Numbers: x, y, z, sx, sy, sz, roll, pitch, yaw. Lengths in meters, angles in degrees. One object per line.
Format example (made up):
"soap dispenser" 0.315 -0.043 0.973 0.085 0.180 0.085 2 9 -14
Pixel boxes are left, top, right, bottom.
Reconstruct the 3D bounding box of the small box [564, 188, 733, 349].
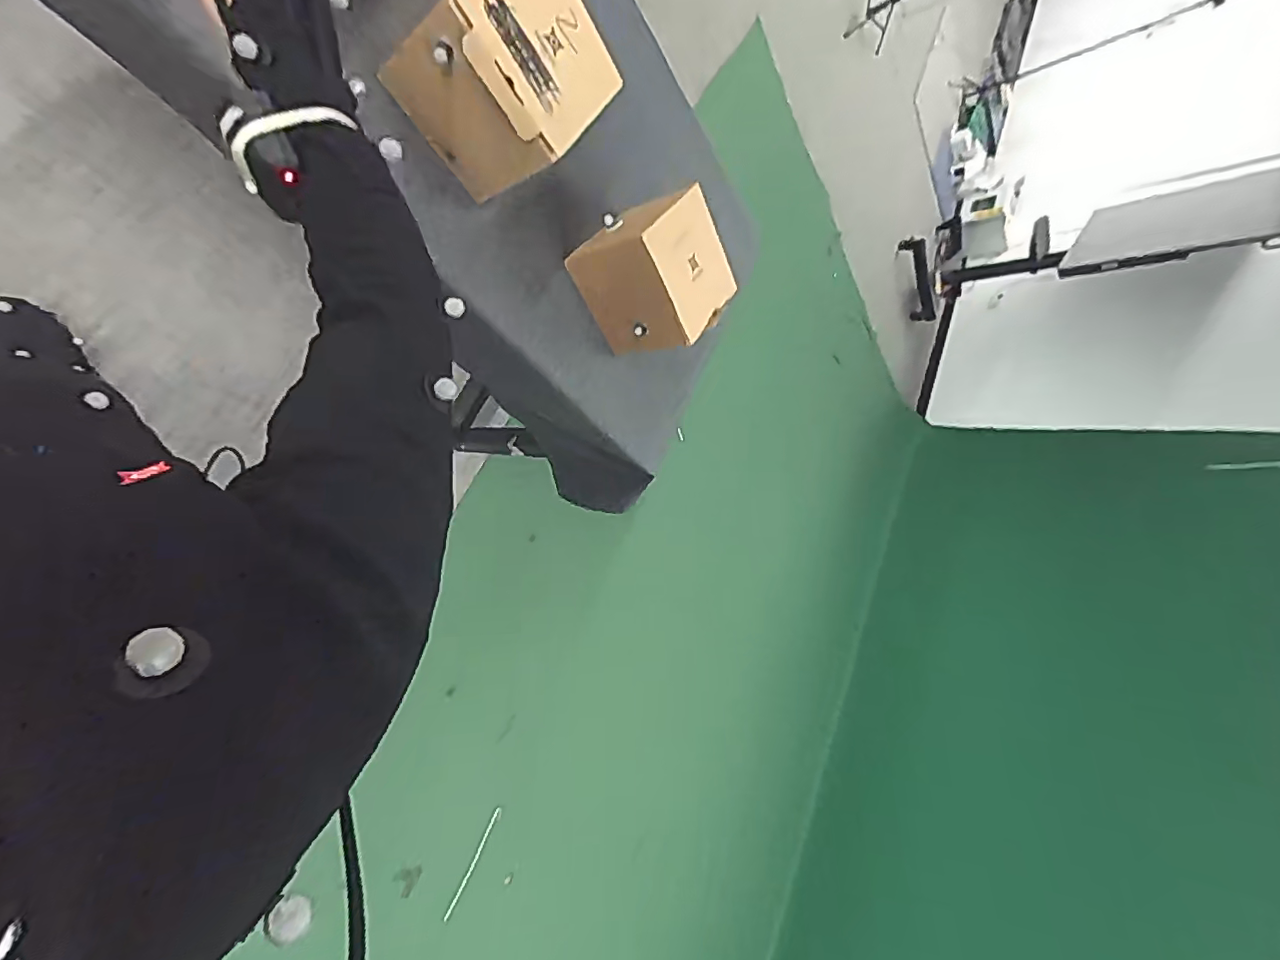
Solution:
"small box" 0.015 -0.324 0.860 0.168 0.176 0.179 -53 129 -30
